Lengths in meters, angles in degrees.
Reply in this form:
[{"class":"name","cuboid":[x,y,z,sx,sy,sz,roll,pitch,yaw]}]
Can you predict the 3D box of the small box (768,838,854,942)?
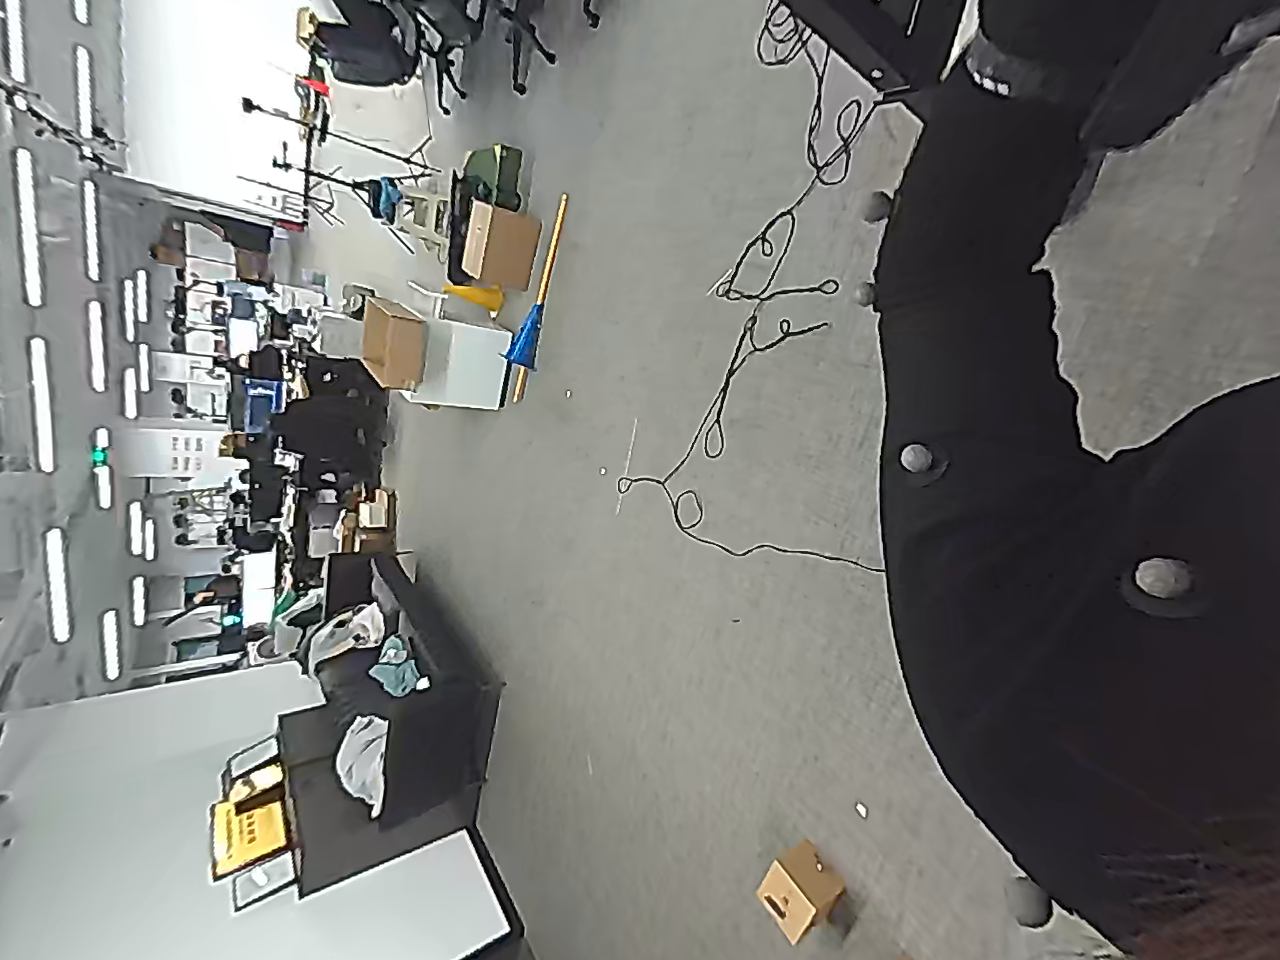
[{"class":"small box","cuboid":[0.543,1.291,1.712,0.168,0.176,0.179,38,118,44]}]
